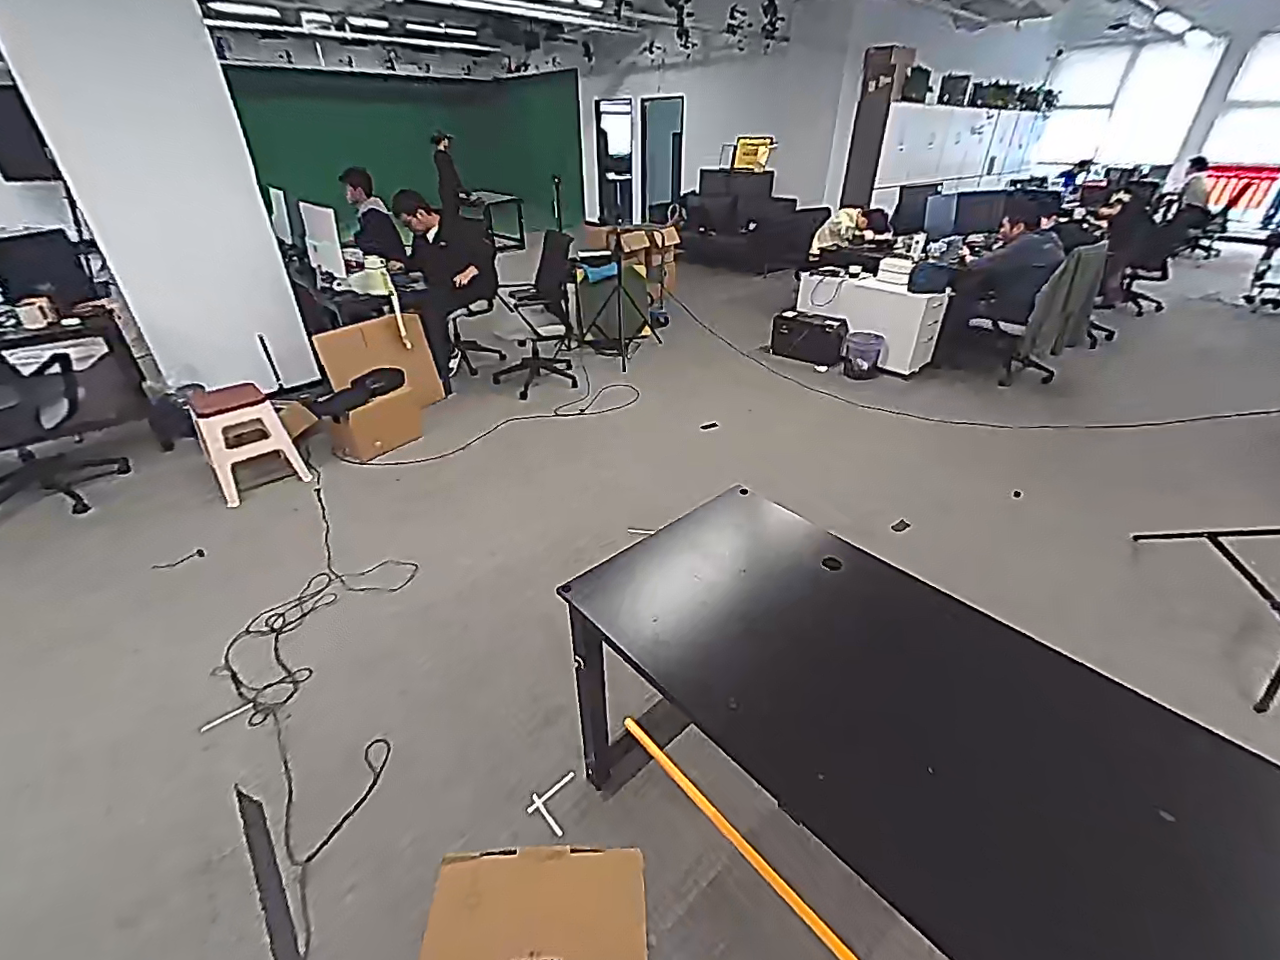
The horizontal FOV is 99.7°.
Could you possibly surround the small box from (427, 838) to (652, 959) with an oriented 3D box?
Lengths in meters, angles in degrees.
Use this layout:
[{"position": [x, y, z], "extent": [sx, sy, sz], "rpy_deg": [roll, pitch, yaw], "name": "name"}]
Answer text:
[{"position": [-0.077, 0.417, 0.431], "extent": [0.168, 0.176, 0.179], "rpy_deg": [1, 37, -4], "name": "small box"}]
